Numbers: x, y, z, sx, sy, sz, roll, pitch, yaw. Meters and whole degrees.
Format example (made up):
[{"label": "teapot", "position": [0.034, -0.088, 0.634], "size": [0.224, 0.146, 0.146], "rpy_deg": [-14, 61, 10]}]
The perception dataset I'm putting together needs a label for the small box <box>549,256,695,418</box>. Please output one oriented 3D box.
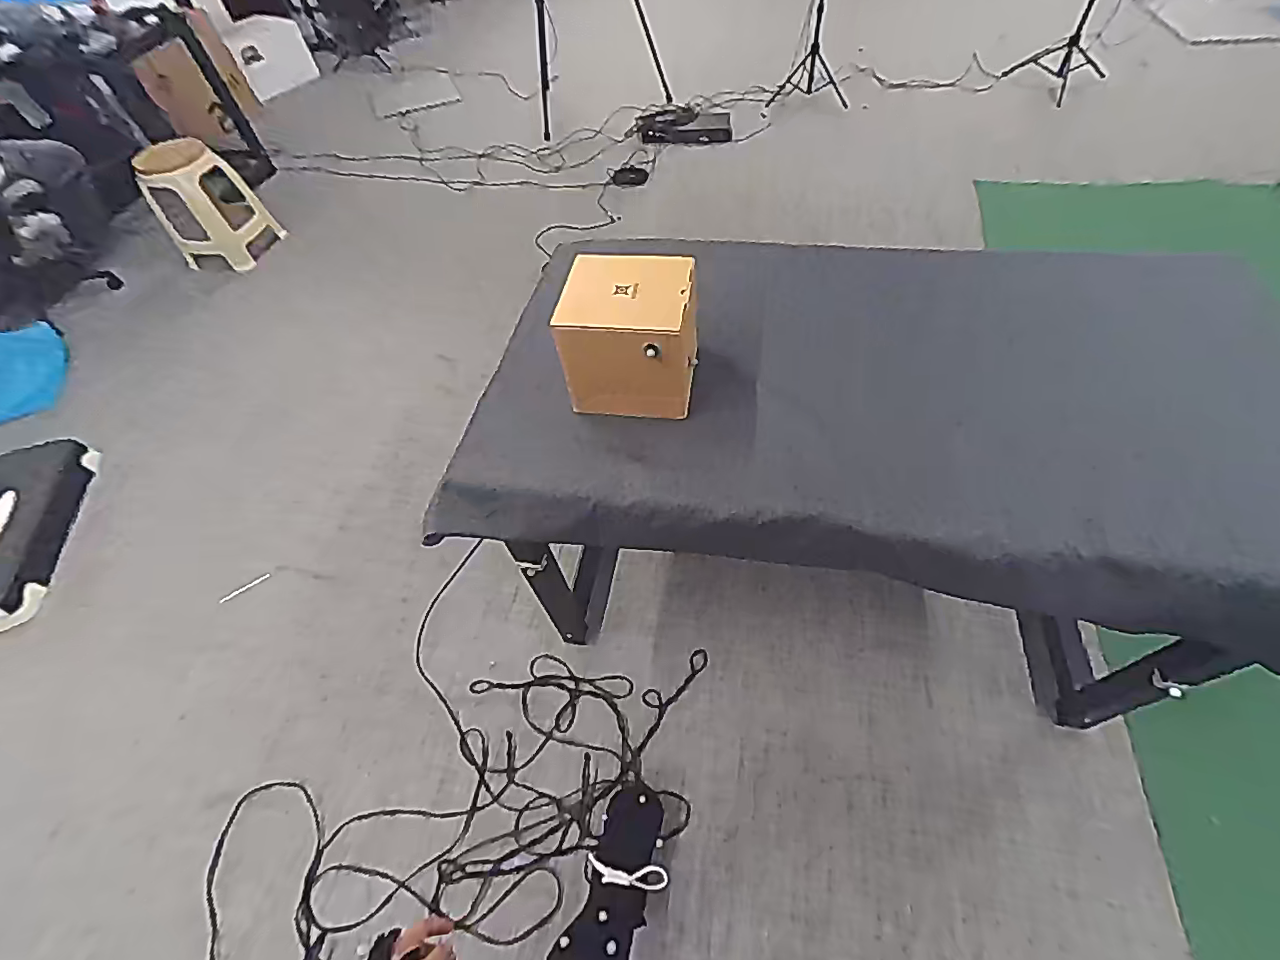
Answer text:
[{"label": "small box", "position": [-0.014, -0.208, 0.797], "size": [0.179, 0.176, 0.168], "rpy_deg": [5, 55, 9]}]
